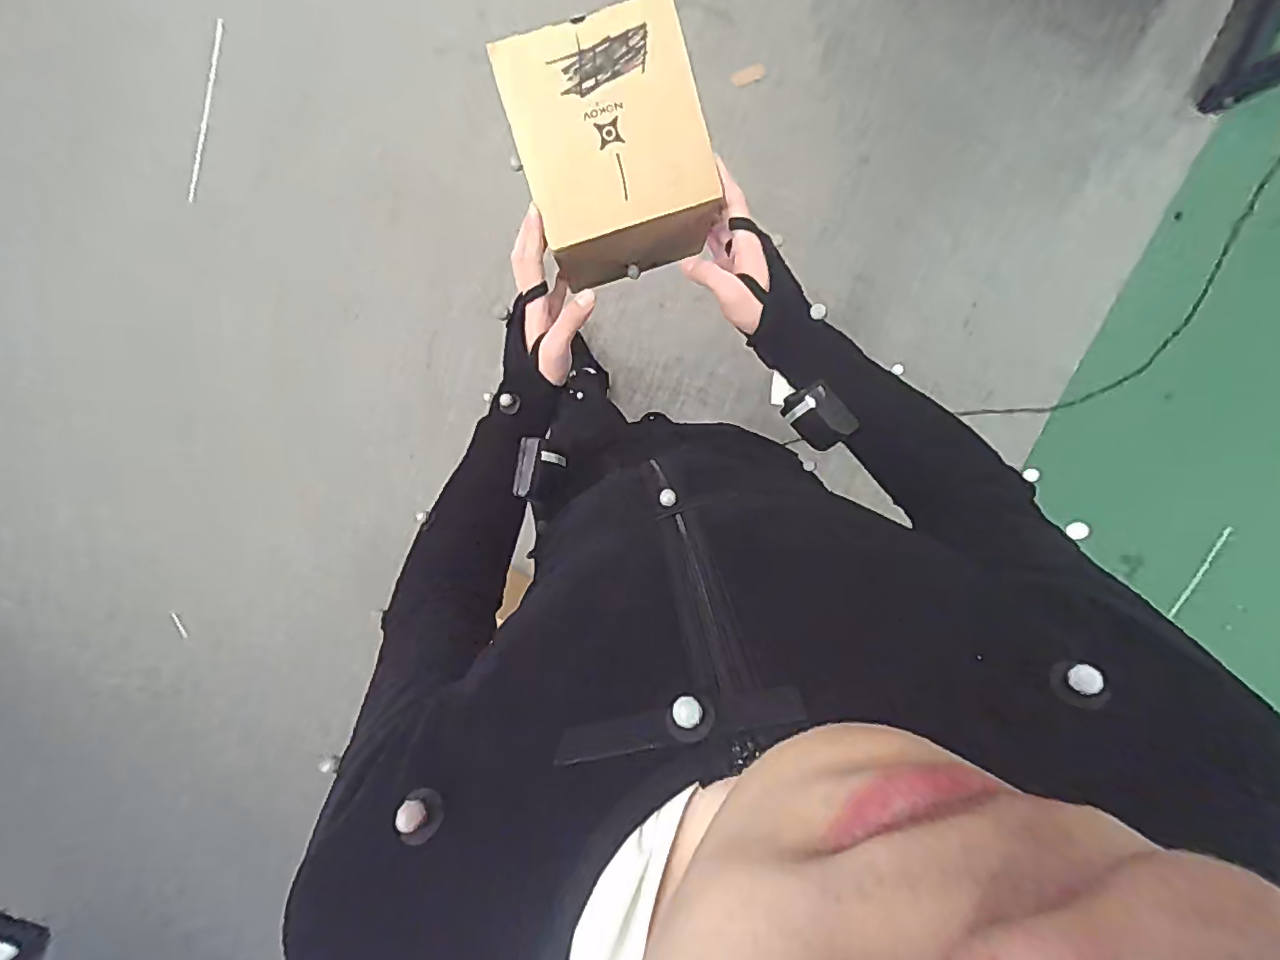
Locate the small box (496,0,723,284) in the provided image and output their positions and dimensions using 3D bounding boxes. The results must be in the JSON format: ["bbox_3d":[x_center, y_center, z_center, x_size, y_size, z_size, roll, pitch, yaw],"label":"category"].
[{"bbox_3d":[-0.027,-0.325,0.553,0.168,0.176,0.179,-16,97,2],"label":"small box"}]
